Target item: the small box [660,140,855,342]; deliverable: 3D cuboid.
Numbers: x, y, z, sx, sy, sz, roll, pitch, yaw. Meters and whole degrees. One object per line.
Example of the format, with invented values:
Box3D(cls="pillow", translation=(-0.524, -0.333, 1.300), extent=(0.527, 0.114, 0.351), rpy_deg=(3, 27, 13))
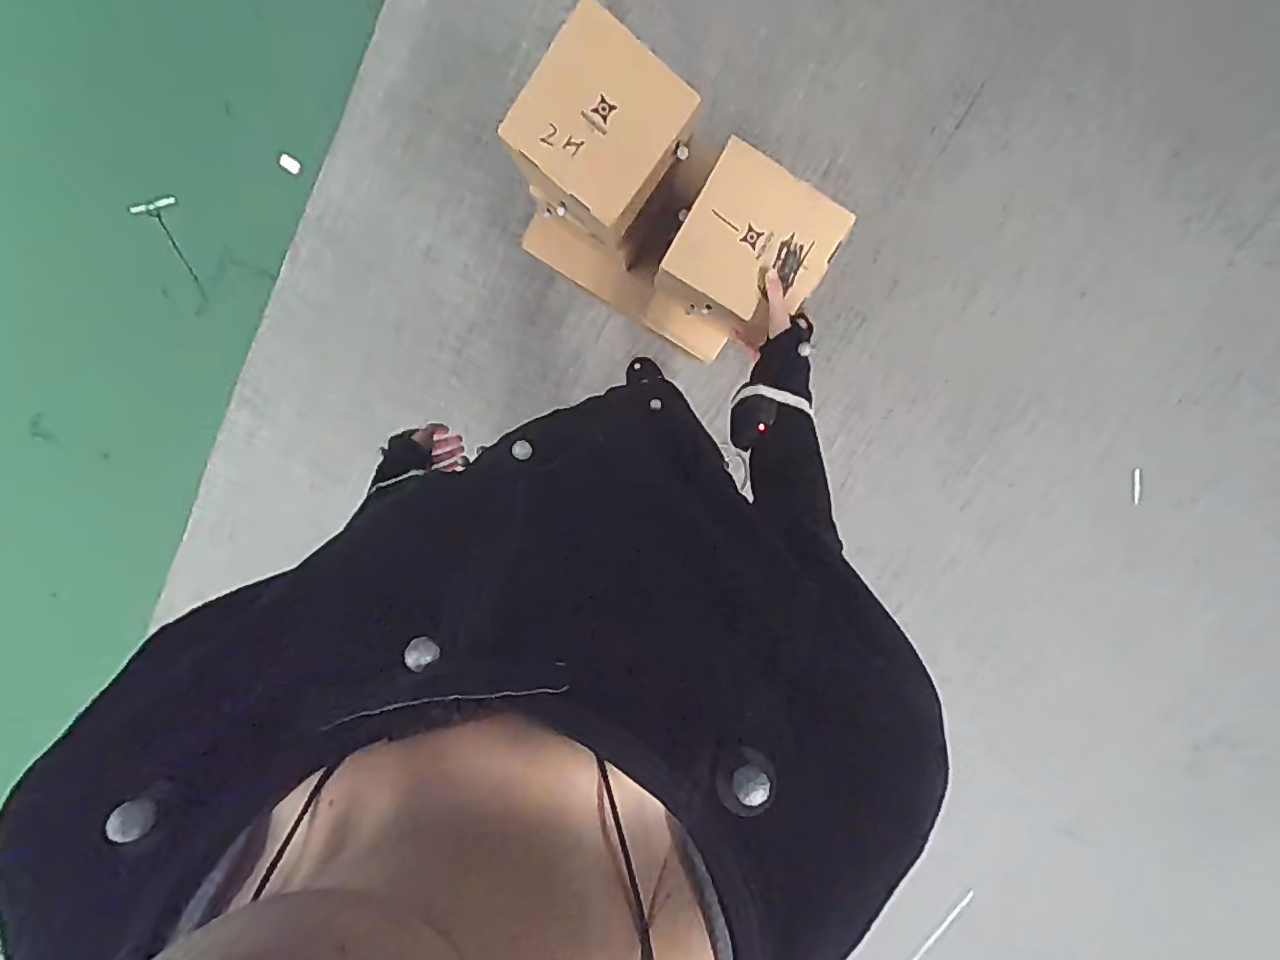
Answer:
Box3D(cls="small box", translation=(0.142, -0.301, 0.720), extent=(0.179, 0.176, 0.168), rpy_deg=(30, 102, -5))
